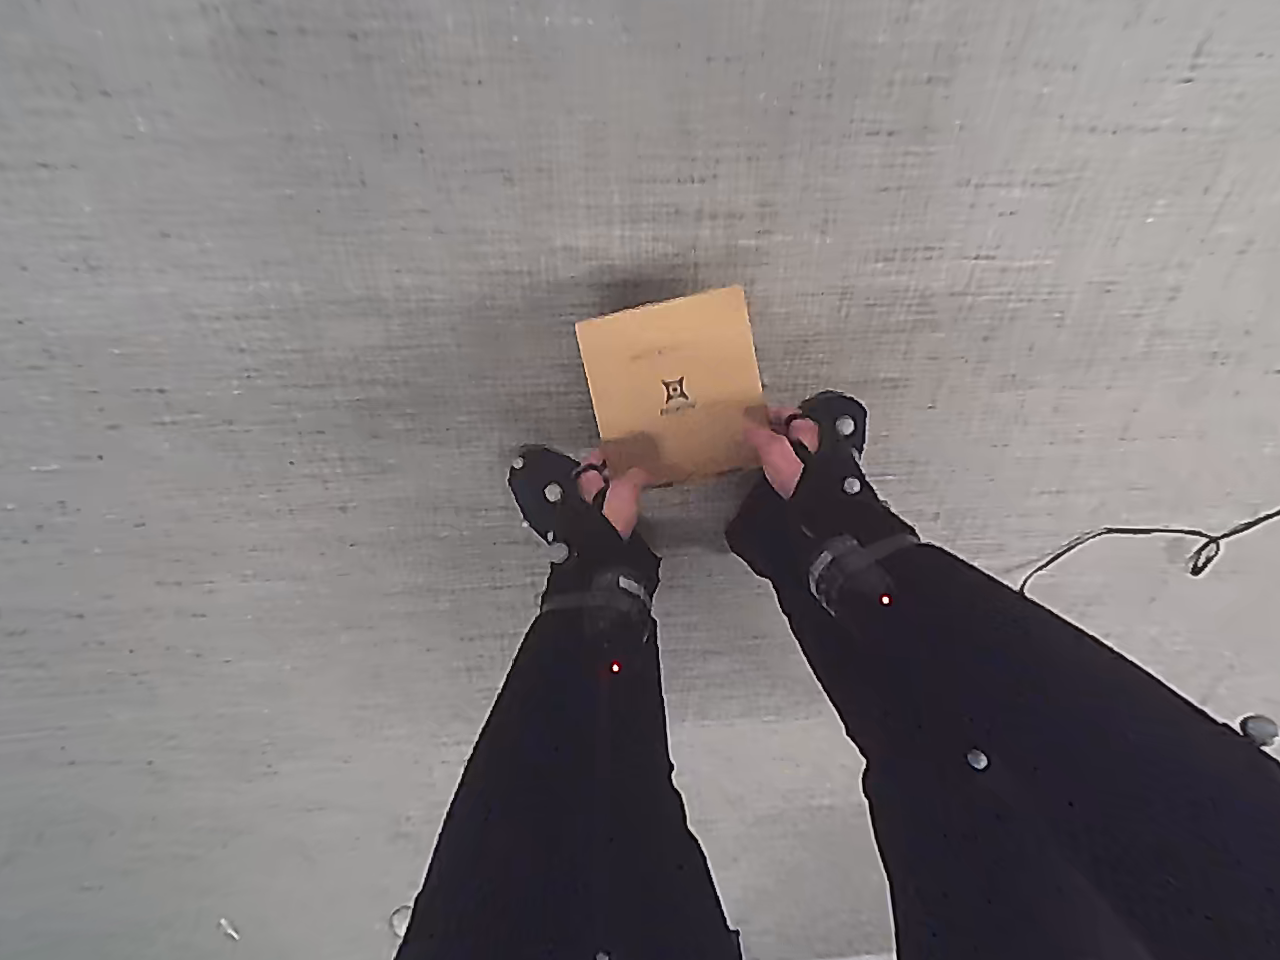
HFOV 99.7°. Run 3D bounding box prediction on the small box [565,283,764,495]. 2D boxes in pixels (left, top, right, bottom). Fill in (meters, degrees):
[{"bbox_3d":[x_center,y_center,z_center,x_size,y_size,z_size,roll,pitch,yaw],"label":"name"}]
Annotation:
[{"bbox_3d":[0.031,-0.096,0.597,0.168,0.176,0.179,-13,97,6],"label":"small box"}]
